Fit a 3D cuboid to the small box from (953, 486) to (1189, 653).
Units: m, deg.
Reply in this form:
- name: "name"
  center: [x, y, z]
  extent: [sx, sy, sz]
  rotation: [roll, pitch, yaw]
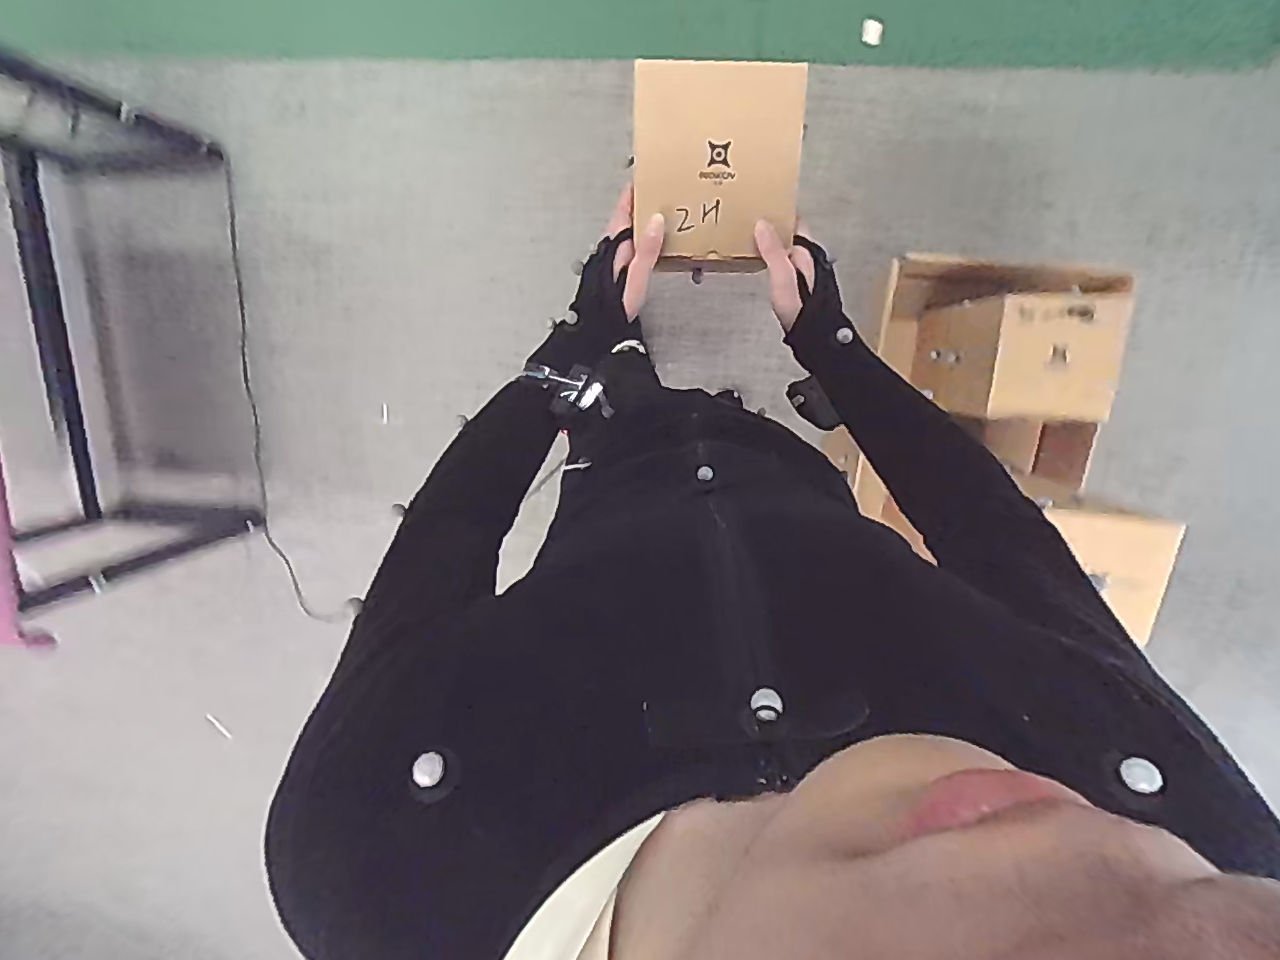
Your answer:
- name: "small box"
  center: [0.564, 0.109, 0.739]
  extent: [0.179, 0.176, 0.168]
  rotation: [7, 103, 5]

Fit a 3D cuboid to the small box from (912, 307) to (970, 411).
- name: "small box"
  center: [0.626, -0.217, 1.000]
  extent: [0.168, 0.176, 0.179]
  rotation: [6, 104, 6]

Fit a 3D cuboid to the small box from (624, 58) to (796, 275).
- name: "small box"
  center: [0.065, -0.333, 0.607]
  extent: [0.168, 0.176, 0.179]
  rotation: [0, 106, 0]

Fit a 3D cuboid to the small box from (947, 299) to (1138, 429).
- name: "small box"
  center: [0.605, -0.182, 0.841]
  extent: [0.168, 0.176, 0.179]
  rotation: [4, 103, 7]
